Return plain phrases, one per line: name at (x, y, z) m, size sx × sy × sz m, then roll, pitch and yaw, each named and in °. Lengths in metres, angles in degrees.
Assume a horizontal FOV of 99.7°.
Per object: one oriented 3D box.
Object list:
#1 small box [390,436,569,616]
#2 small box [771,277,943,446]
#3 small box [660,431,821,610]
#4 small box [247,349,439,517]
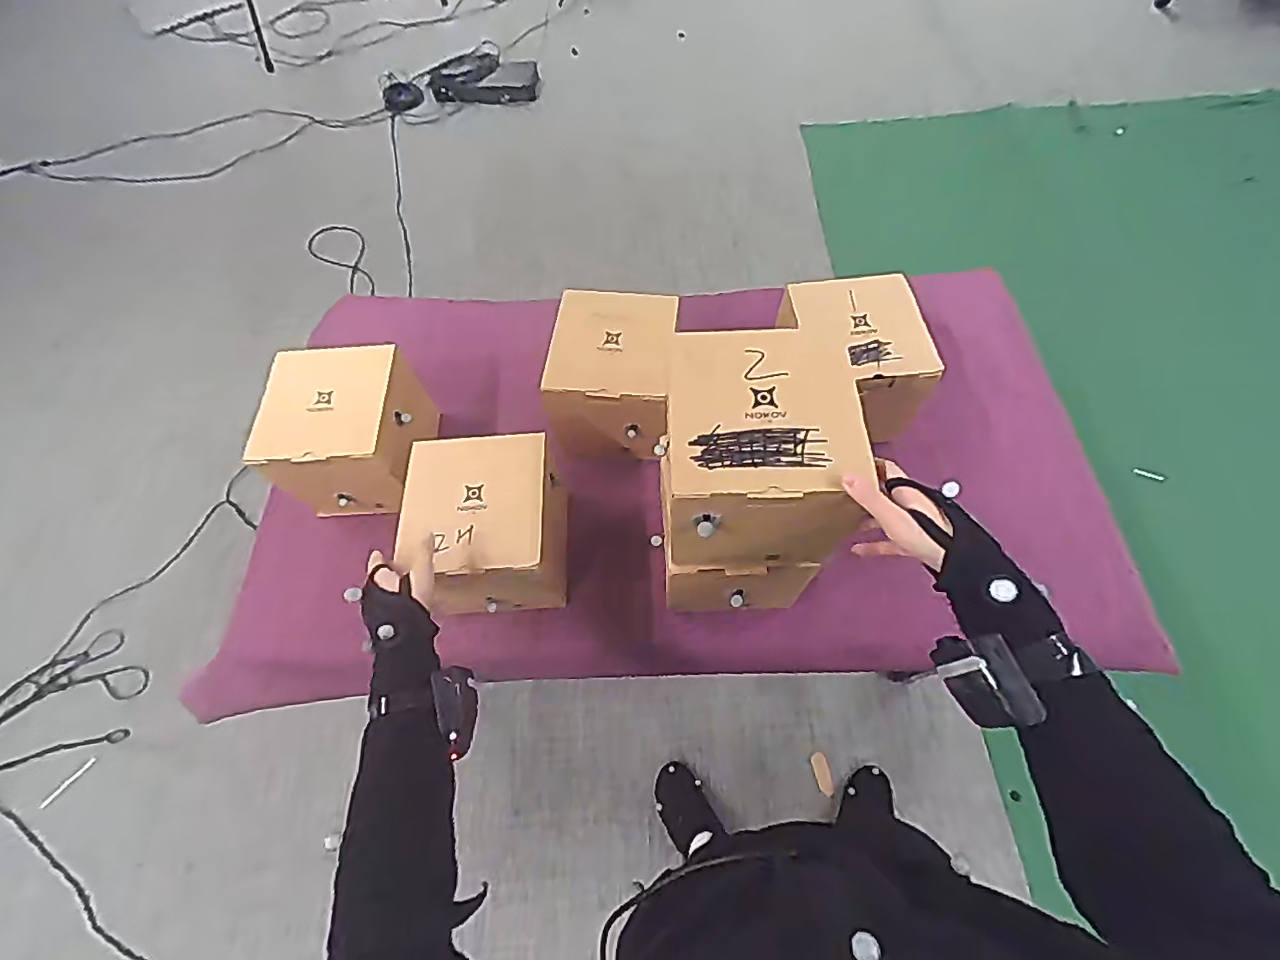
small box at (-0.187, 0.063, 0.689) m, size 0.168 × 0.176 × 0.179 m, roll -4°, pitch 62°, yaw 2°
small box at (0.294, -0.159, 0.778) m, size 0.168 × 0.176 × 0.179 m, roll -5°, pitch 61°, yaw 1°
small box at (0.112, 0.060, 0.675) m, size 0.168 × 0.176 × 0.179 m, roll -3°, pitch 62°, yaw 1°
small box at (-0.402, -0.061, 0.769) m, size 0.168 × 0.176 × 0.179 m, roll -3°, pitch 63°, yaw 1°
